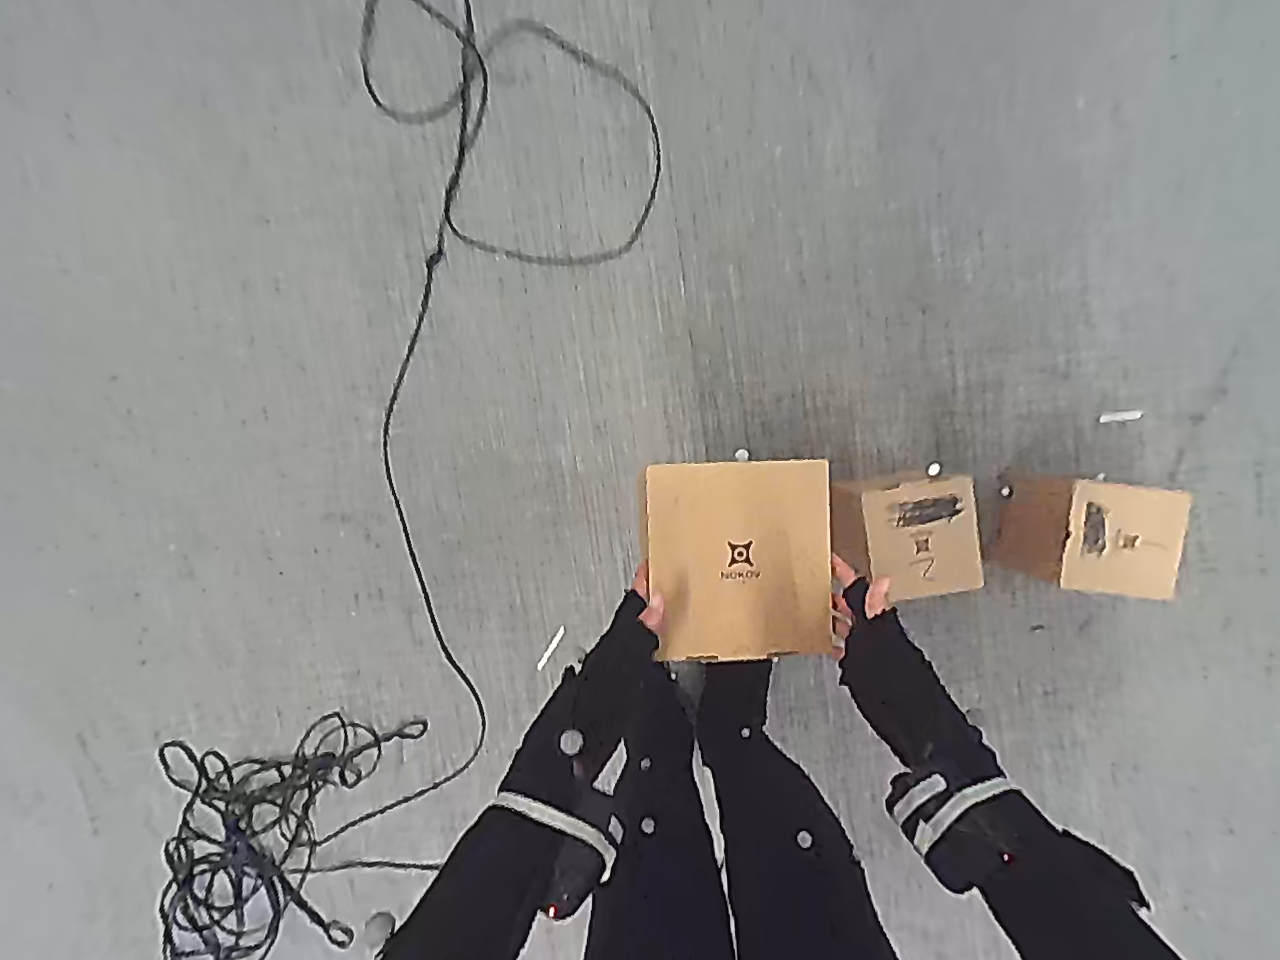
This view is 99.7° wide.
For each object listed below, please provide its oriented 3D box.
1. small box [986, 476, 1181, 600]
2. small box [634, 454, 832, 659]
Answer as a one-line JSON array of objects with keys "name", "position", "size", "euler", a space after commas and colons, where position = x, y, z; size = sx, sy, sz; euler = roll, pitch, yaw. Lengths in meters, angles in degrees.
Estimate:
[{"name": "small box", "position": [0.710, 0.086, 0.888], "size": [0.179, 0.176, 0.168], "euler": [7, 94, 0]}, {"name": "small box", "position": [0.081, 0.067, 0.551], "size": [0.168, 0.176, 0.179], "euler": [-2, 91, -3]}]
